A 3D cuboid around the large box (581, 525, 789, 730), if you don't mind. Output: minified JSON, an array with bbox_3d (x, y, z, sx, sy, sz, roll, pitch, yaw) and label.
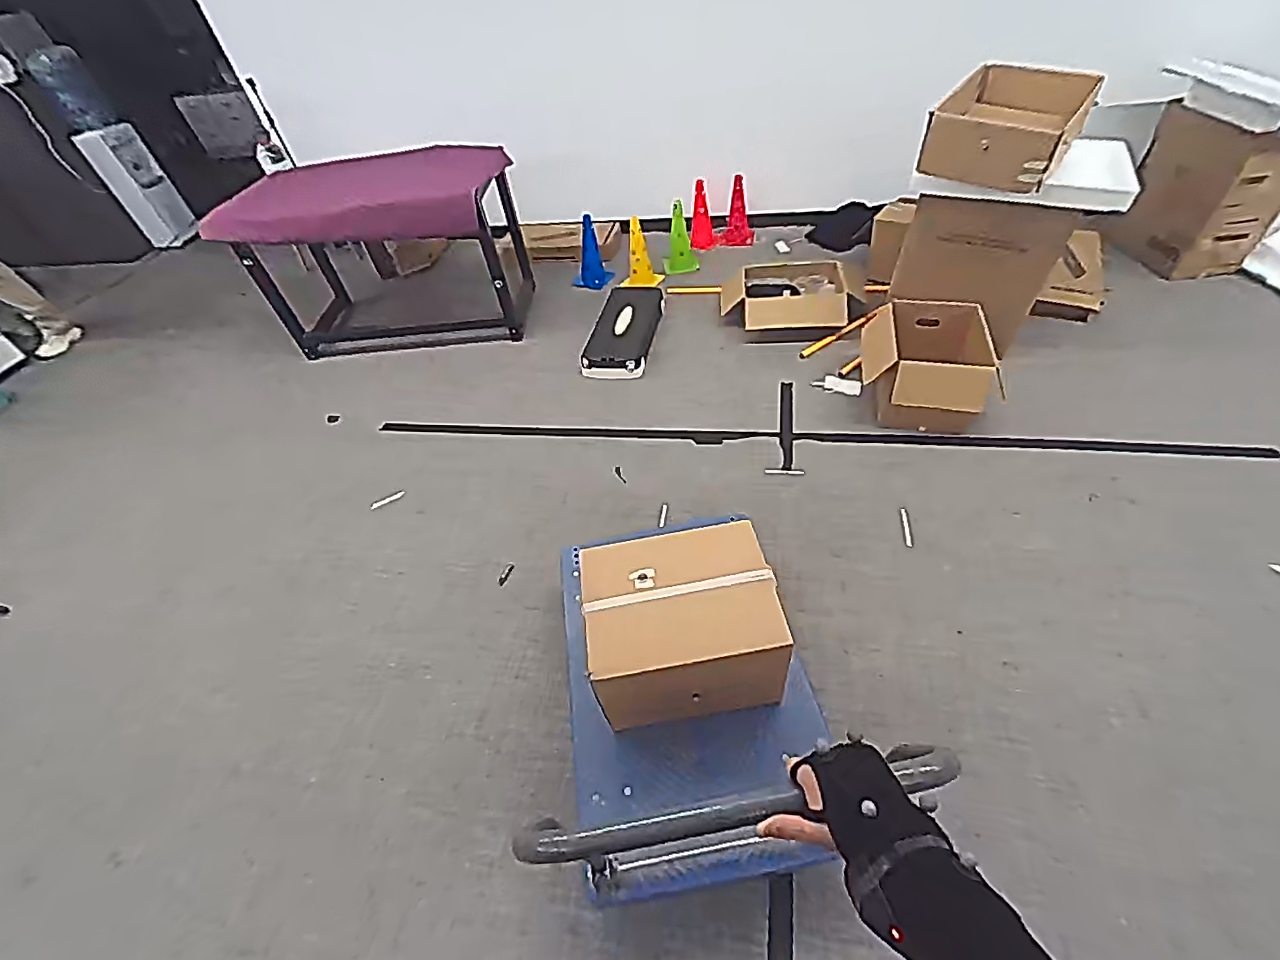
[{"bbox_3d":[0.099,0.352,1.275,0.408,0.320,0.320,-11,47,0],"label":"large box"}]
